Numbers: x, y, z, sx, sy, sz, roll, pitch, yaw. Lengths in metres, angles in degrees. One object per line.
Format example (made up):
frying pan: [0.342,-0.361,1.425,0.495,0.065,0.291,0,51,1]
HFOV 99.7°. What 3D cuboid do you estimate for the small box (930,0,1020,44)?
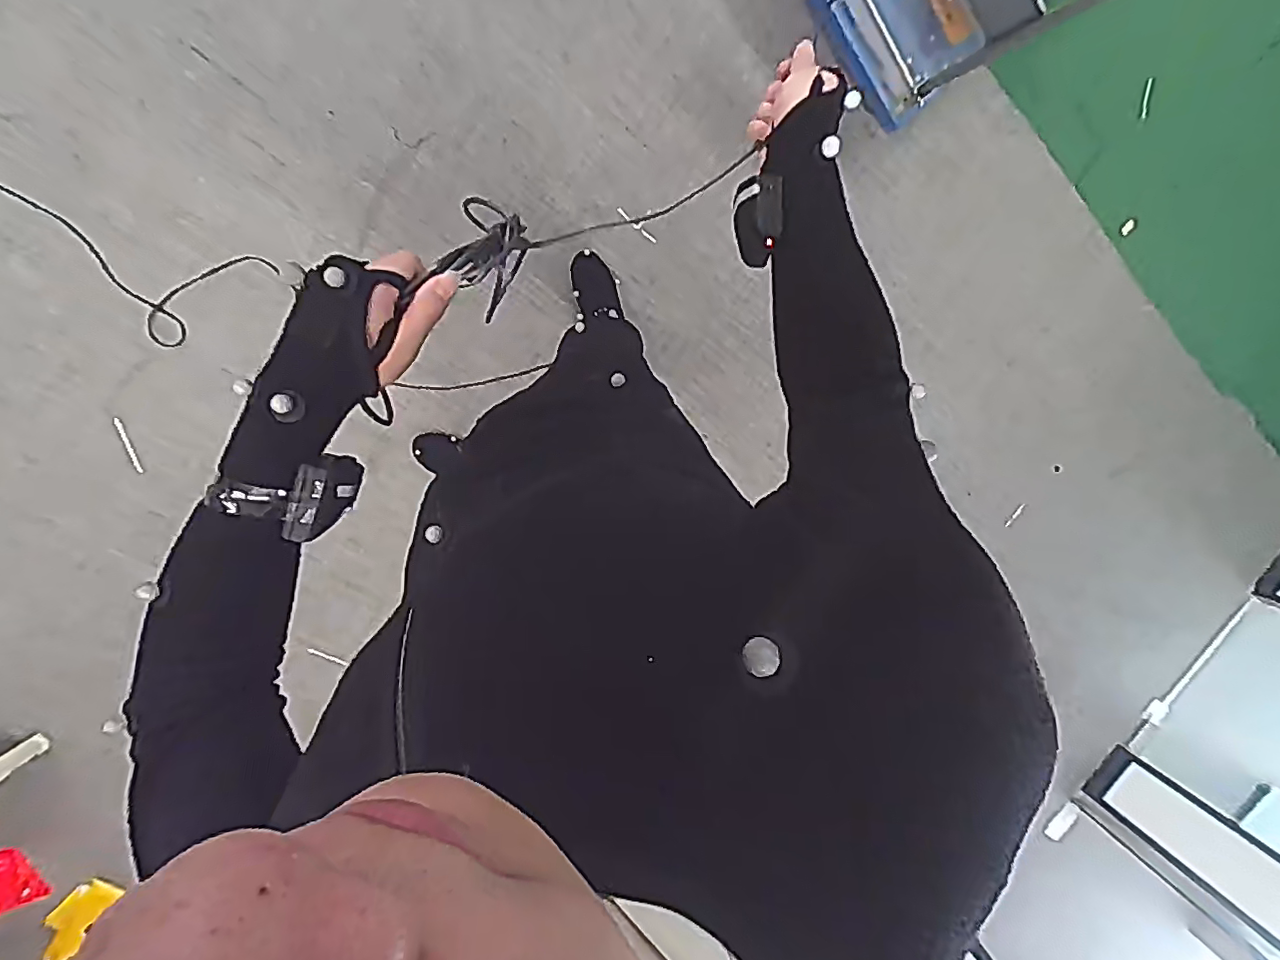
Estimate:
small box: [0.809,-1.176,1.248,0.179,0.176,0.168,-43,110,1]
